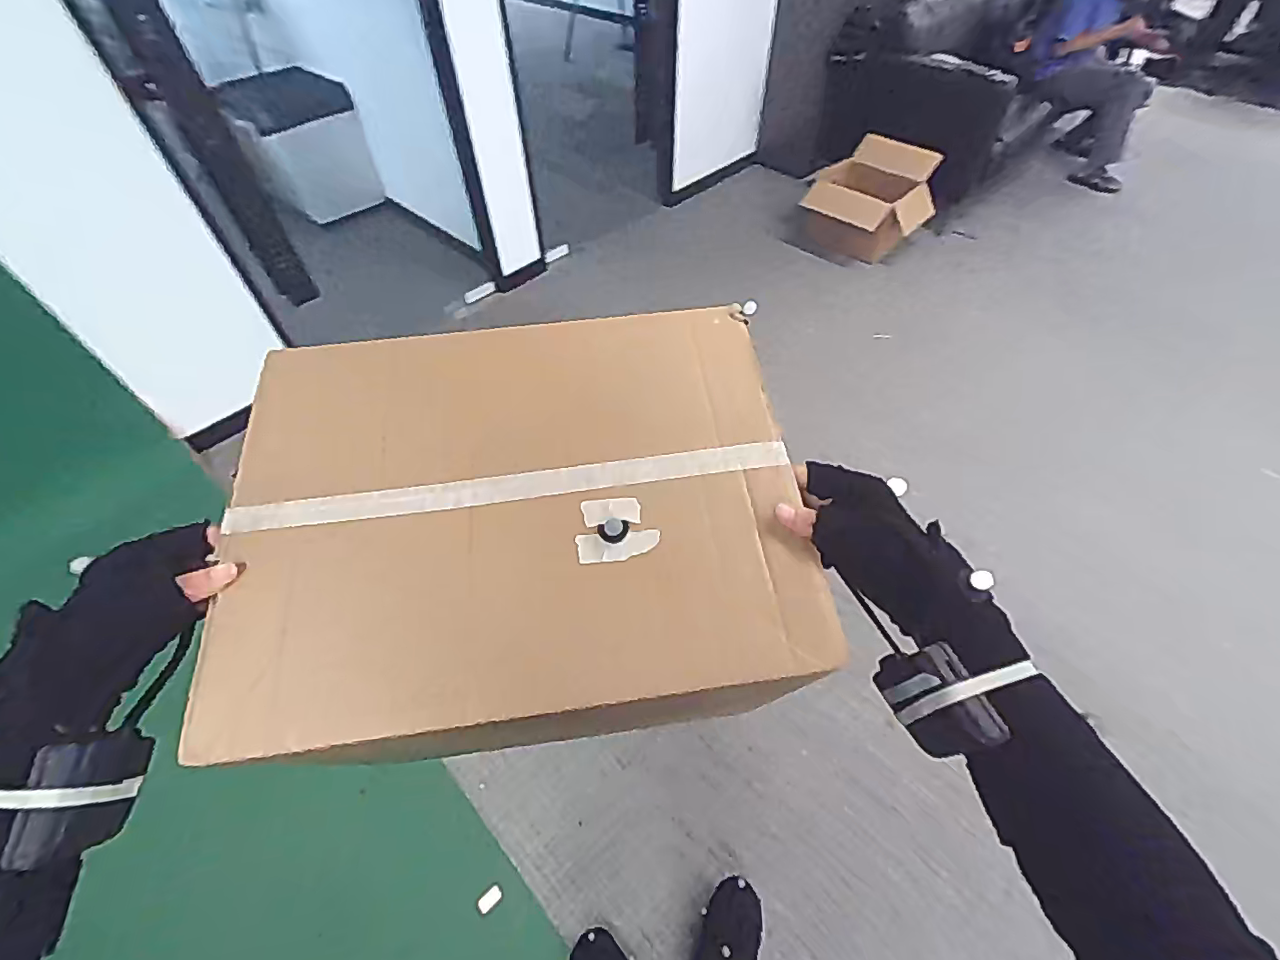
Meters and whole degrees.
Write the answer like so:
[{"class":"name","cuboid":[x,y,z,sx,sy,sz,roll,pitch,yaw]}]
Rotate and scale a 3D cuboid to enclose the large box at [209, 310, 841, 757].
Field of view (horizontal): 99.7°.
[{"class":"large box","cuboid":[-0.088,0.071,0.536,0.408,0.320,0.320,-6,63,-5]}]
